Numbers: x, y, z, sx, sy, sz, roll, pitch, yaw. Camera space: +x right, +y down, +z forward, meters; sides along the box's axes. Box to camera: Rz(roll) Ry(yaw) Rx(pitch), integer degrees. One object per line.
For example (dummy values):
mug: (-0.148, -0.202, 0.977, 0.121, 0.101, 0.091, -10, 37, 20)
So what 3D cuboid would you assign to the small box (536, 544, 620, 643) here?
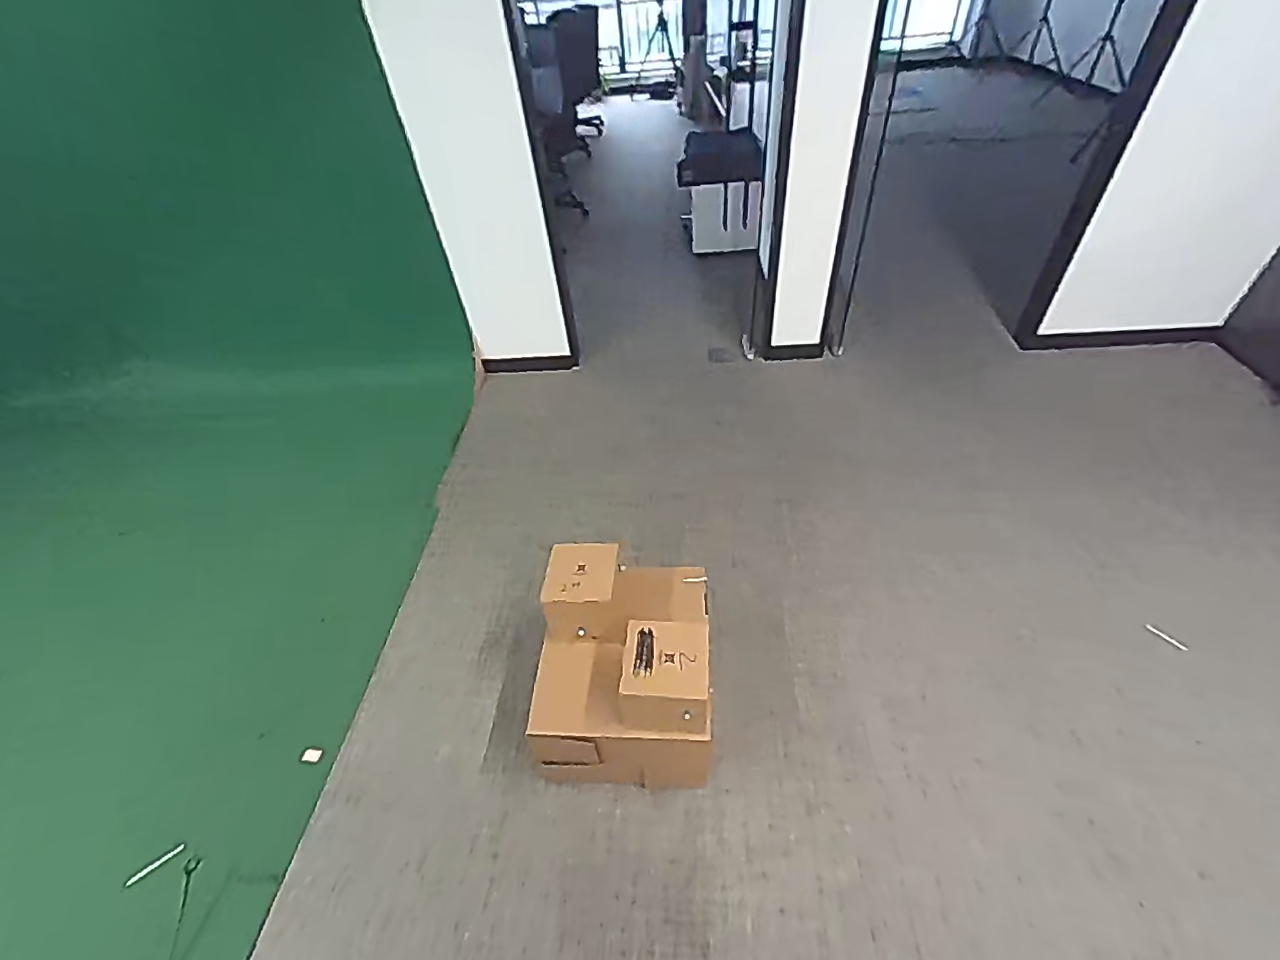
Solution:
small box: (-0.143, 0.277, 1.328, 0.168, 0.176, 0.179, -2, 41, 6)
